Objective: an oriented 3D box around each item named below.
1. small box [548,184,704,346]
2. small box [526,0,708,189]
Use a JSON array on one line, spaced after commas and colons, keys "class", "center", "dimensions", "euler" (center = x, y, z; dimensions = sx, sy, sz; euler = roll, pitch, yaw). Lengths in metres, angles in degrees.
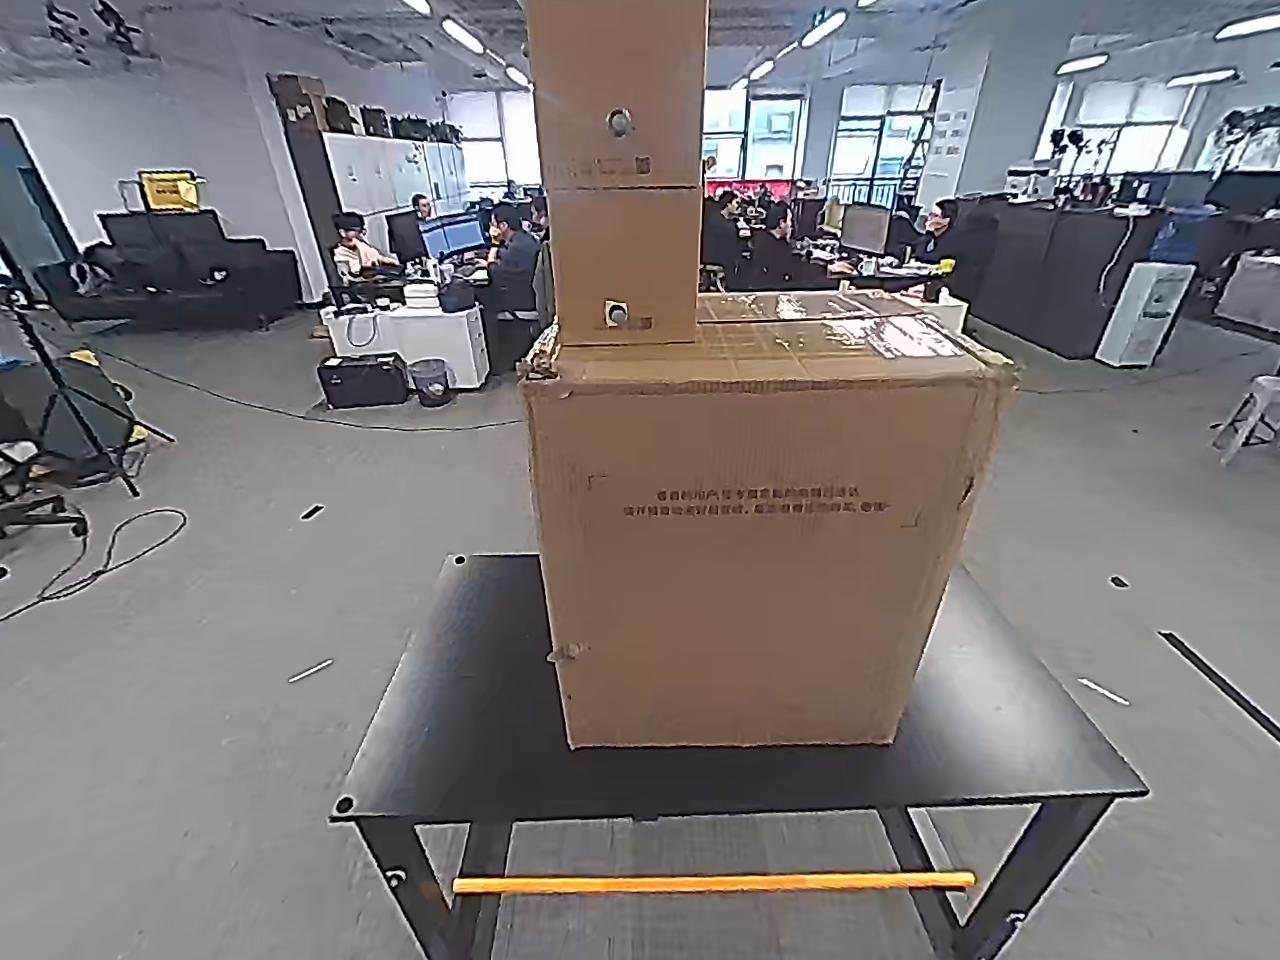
[{"class": "small box", "center": [-0.021, -0.272, 0.669], "dimensions": [0.168, 0.176, 0.179], "euler": [-4, 33, -5]}, {"class": "small box", "center": [-0.025, -0.412, 0.581], "dimensions": [0.168, 0.176, 0.179], "euler": [-3, 31, -3]}]
